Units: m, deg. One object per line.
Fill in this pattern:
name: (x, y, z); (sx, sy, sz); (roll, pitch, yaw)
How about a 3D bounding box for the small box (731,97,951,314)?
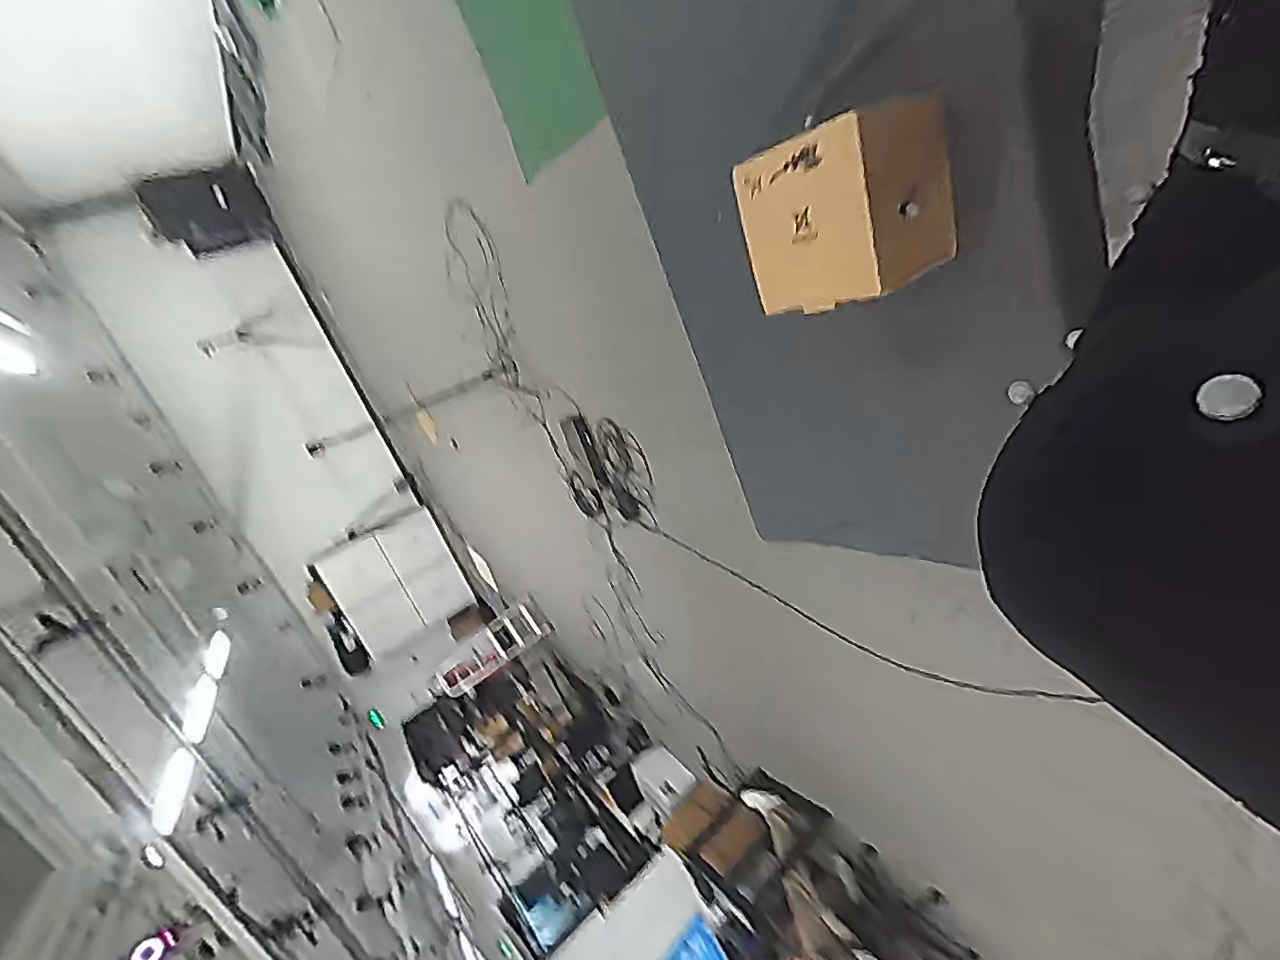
small box: (0.245, -0.322, 0.651); (0.168, 0.176, 0.179); (9, 124, 57)
